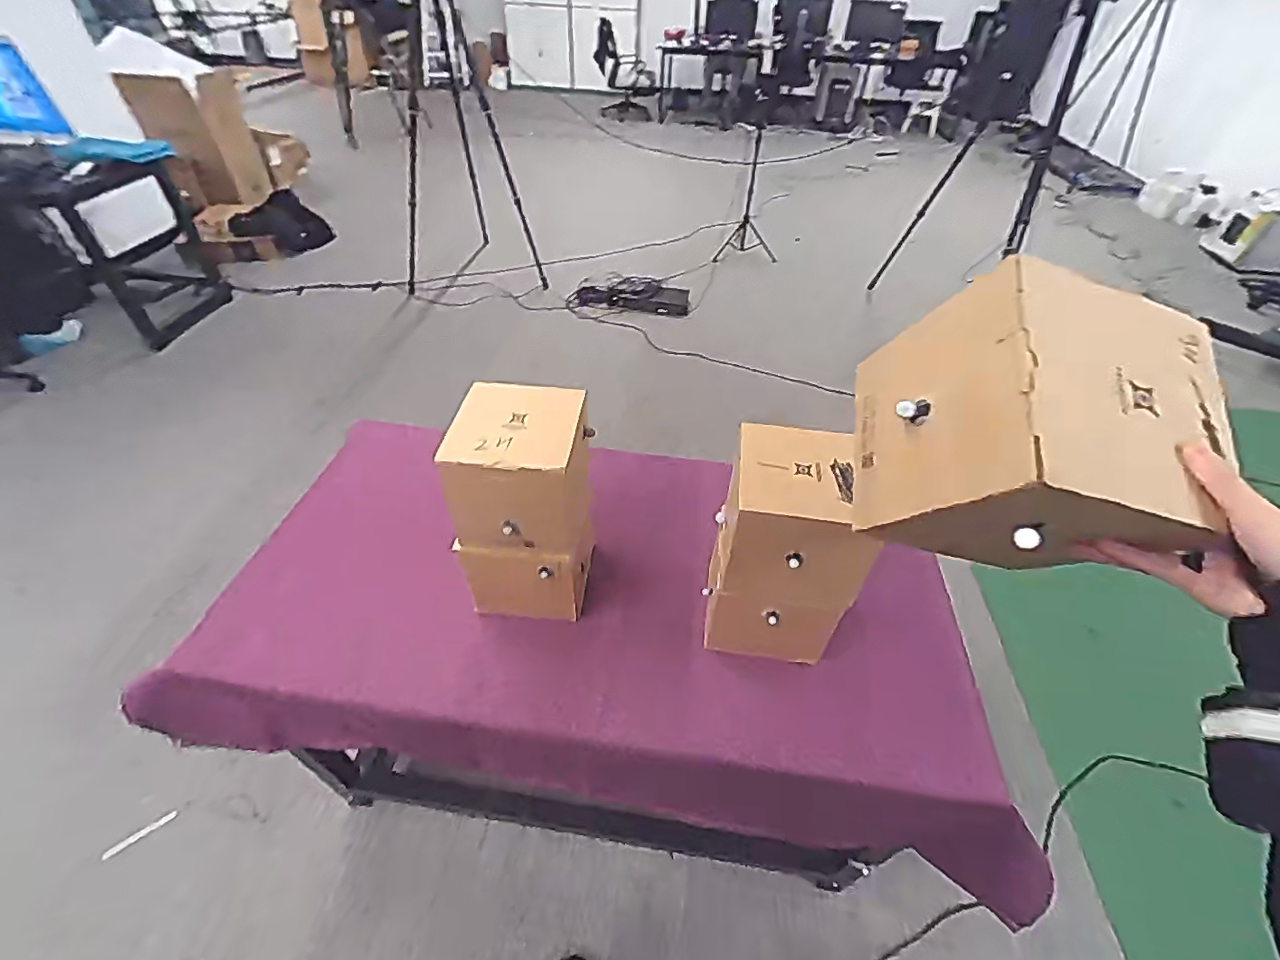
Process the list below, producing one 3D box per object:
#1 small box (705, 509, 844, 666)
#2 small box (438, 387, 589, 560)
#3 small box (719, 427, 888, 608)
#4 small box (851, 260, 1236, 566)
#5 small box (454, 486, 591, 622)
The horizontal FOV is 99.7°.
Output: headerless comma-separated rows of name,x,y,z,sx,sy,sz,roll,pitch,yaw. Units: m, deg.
small box,0.199,0.169,0.843,0.179,0.176,0.168,8,45,5
small box,-0.167,-0.010,0.778,0.168,0.176,0.179,4,44,2
small box,0.208,0.053,0.728,0.179,0.176,0.168,7,45,6
small box,0.291,-0.033,0.431,0.179,0.176,0.168,13,71,-11
small box,-0.179,0.115,0.886,0.179,0.176,0.168,5,44,1
